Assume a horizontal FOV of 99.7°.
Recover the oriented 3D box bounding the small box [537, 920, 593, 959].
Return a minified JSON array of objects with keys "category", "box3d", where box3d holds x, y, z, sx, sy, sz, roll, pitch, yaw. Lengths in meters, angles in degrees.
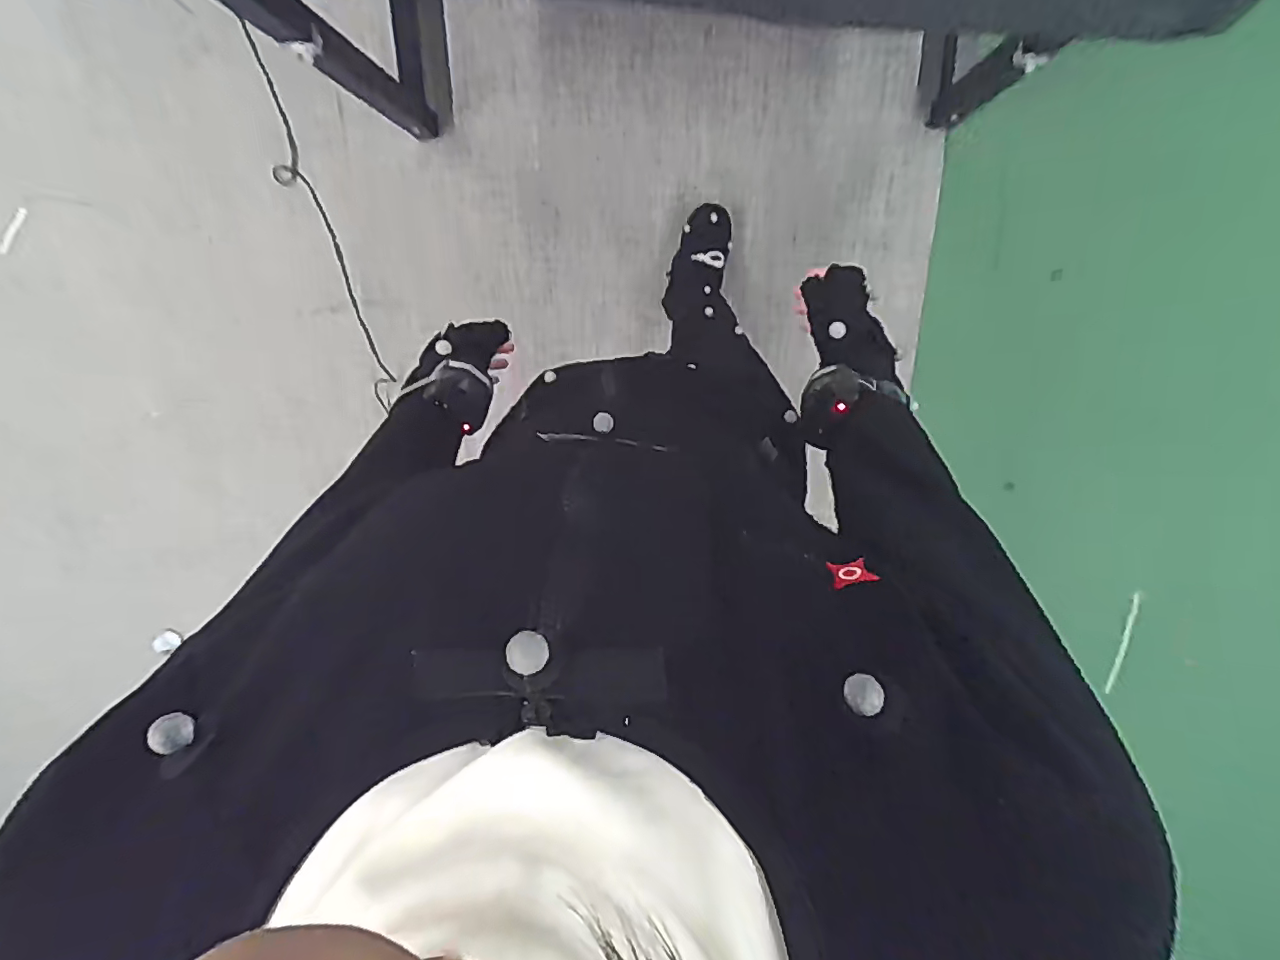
[{"category":"small box","box3d":[-0.258,1.652,1.846,0.179,0.176,0.168,5,106,3]}]
